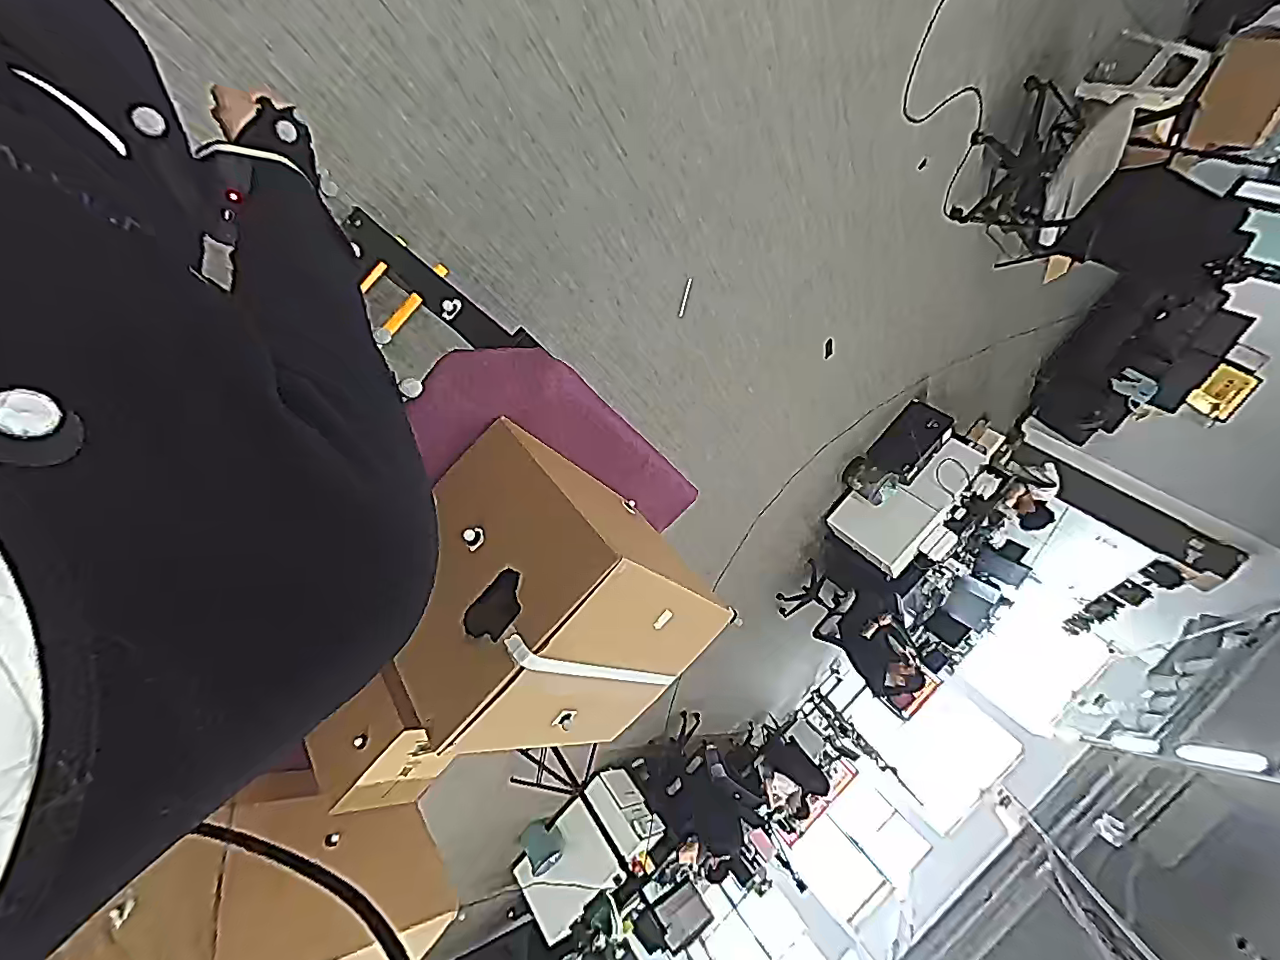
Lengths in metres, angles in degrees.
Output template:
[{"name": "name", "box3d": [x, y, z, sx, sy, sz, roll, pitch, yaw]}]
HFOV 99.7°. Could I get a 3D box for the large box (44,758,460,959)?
[{"name": "large box", "box3d": [-0.590, 0.695, 0.860, 0.320, 0.320, 0.408, -49, 147, 2]}]
